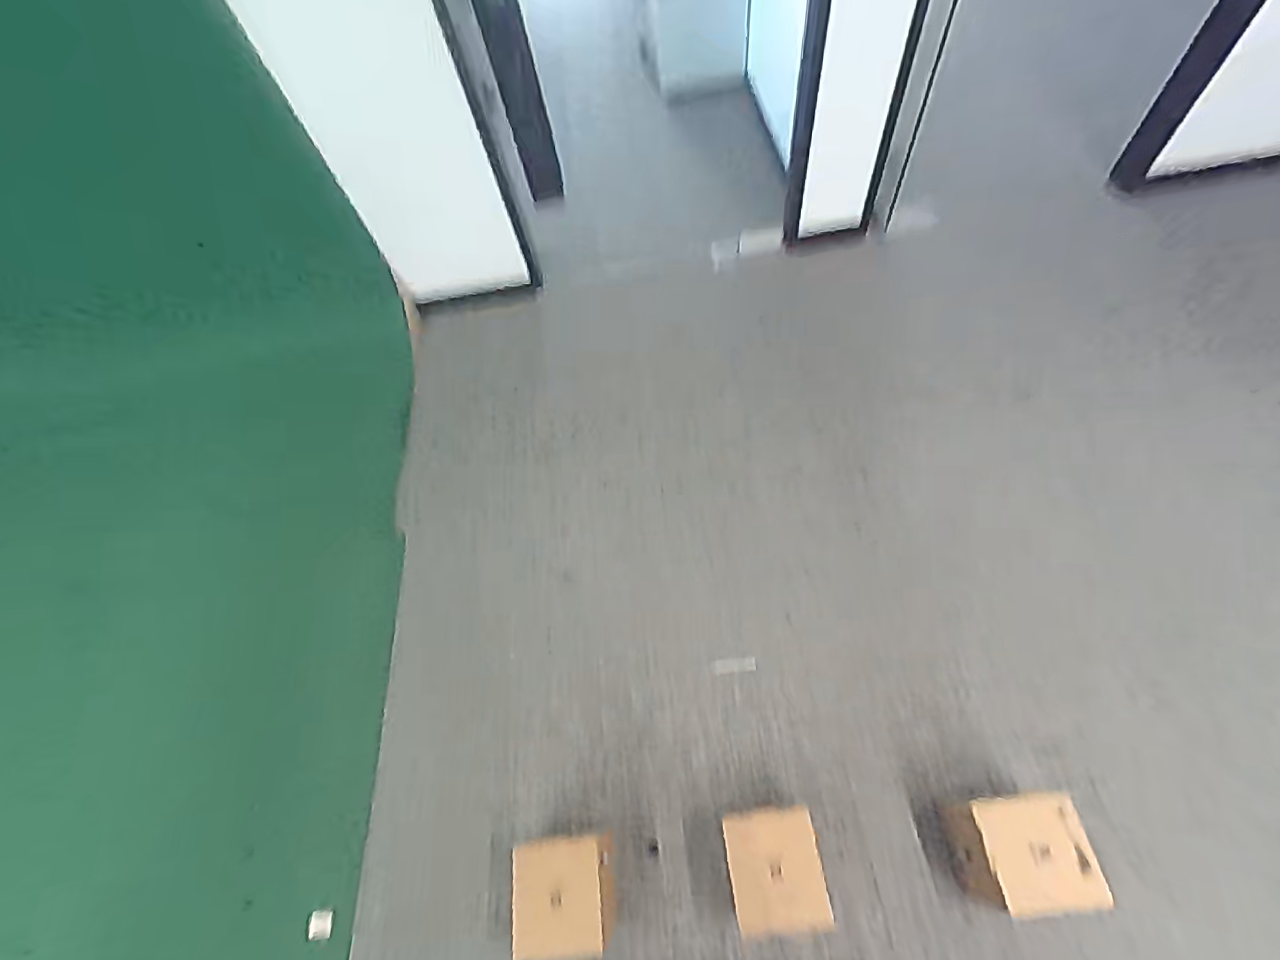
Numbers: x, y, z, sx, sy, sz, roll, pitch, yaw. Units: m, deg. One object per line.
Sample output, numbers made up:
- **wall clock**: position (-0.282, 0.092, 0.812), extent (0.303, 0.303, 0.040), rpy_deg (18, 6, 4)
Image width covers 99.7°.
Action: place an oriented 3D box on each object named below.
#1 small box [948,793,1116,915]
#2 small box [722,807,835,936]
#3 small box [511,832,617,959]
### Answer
- **small box**: position (0.700, 0.682, 0.998), extent (0.179, 0.176, 0.168), rpy_deg (-8, 59, 3)
- **small box**: position (0.252, 0.734, 1.030), extent (0.168, 0.176, 0.179), rpy_deg (-9, 59, 3)
- **small box**: position (-0.143, 0.798, 1.046), extent (0.168, 0.176, 0.179), rpy_deg (-9, 58, 3)
